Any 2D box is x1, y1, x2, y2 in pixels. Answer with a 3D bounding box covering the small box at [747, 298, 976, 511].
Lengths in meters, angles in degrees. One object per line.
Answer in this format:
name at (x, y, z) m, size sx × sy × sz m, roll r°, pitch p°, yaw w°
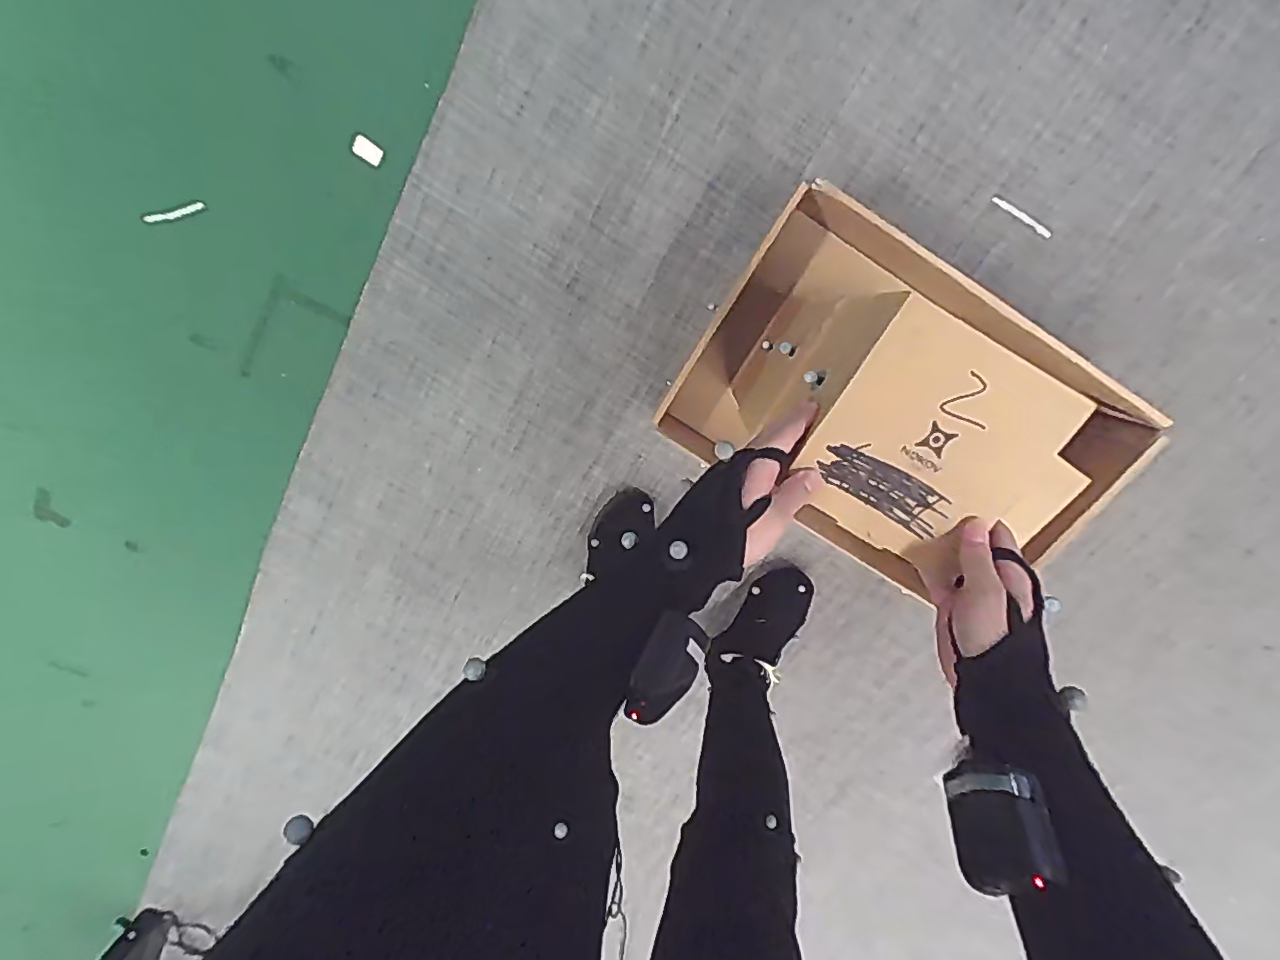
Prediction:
small box at (0.243, -0.098, 0.650) m, size 0.168 × 0.176 × 0.179 m, roll 29°, pitch 107°, yaw -4°
